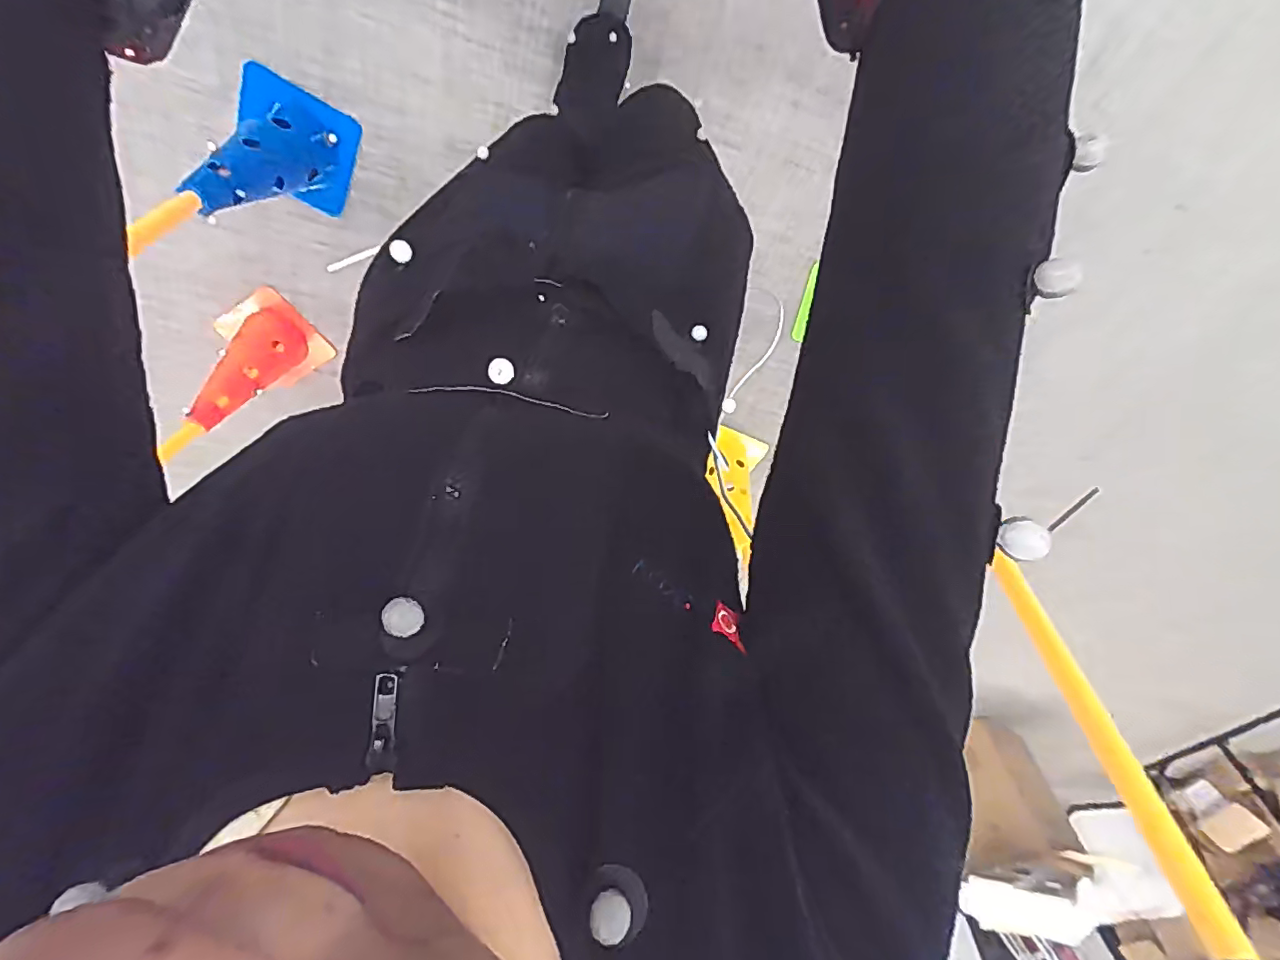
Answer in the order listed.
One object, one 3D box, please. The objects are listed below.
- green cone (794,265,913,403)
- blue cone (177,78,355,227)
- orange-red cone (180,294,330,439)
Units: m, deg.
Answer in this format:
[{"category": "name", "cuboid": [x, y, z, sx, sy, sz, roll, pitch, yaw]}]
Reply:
[{"category": "green cone", "cuboid": [0.487, -0.287, 1.149, 0.200, 0.368, 0.202, 2, 133, -5]}, {"category": "blue cone", "cuboid": [-0.647, -0.514, 0.905, 0.193, 0.380, 0.192, 25, 127, -23]}, {"category": "orange-red cone", "cuboid": [-0.859, -0.209, 1.148, 0.199, 0.360, 0.198, -22, 130, 15]}]
